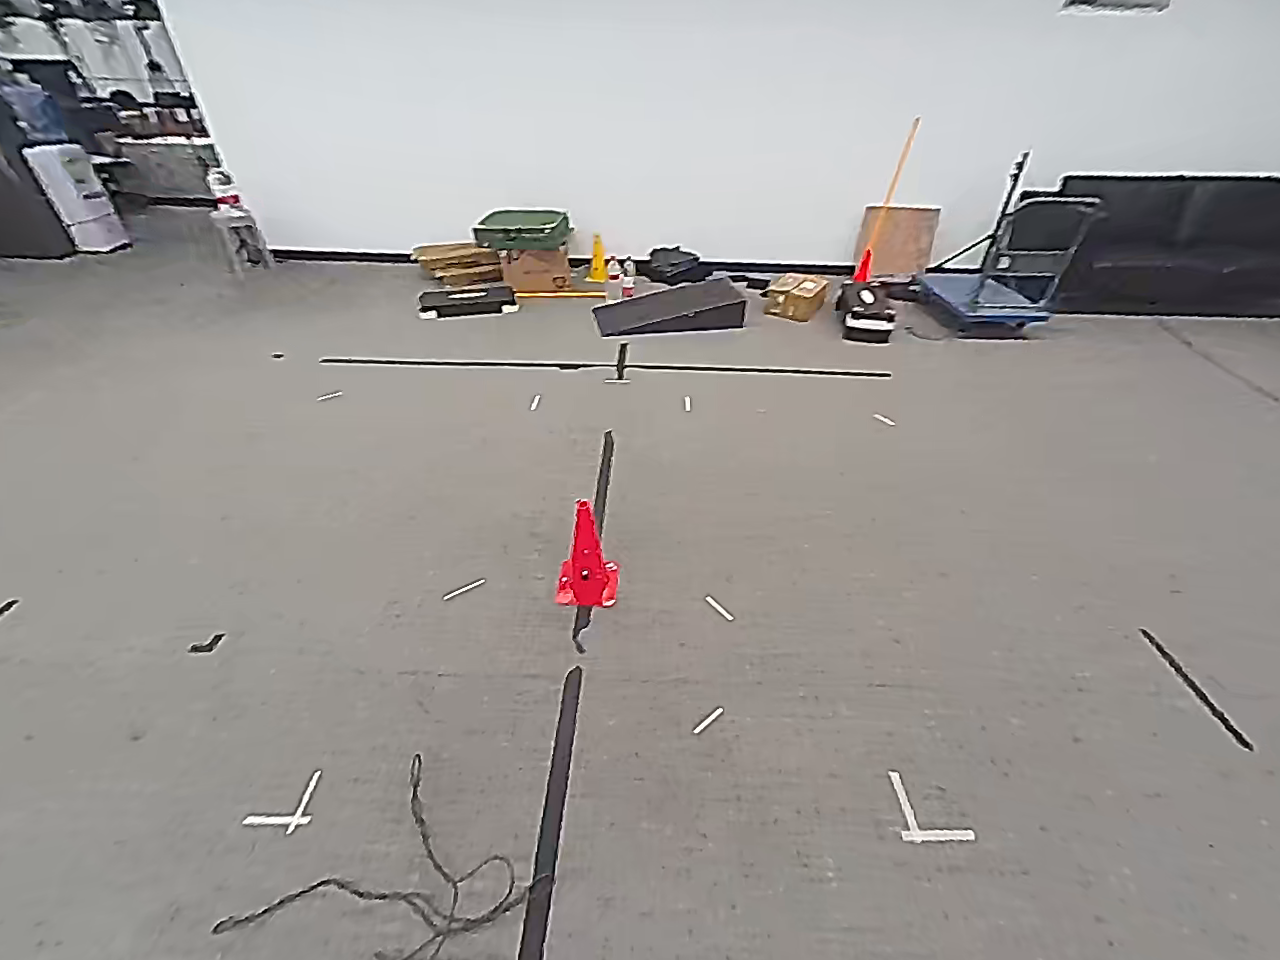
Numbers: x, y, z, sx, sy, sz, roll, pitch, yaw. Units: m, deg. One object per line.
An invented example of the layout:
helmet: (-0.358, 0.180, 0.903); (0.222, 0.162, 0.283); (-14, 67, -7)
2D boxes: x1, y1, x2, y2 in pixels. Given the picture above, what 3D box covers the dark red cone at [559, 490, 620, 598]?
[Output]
dark red cone: (-0.168, 0.193, 1.743); (0.201, 0.394, 0.202); (1, 38, 1)
